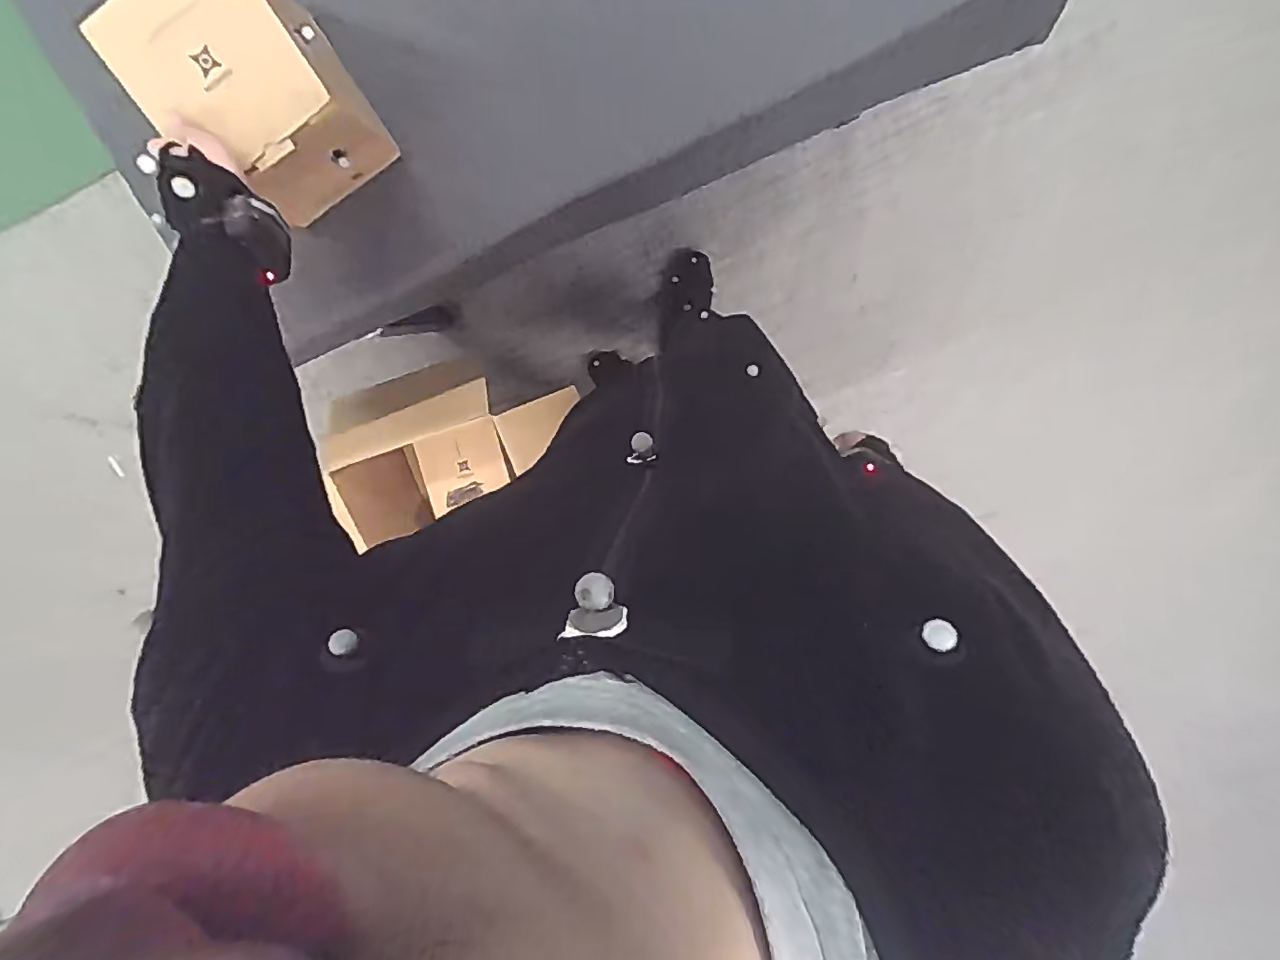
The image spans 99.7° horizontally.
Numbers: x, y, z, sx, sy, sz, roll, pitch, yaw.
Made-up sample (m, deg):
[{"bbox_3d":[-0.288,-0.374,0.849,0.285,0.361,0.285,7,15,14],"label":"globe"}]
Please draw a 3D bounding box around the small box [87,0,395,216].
[{"bbox_3d":[-0.413,-0.419,0.598,0.168,0.176,0.179,-32,102,7],"label":"small box"}]
